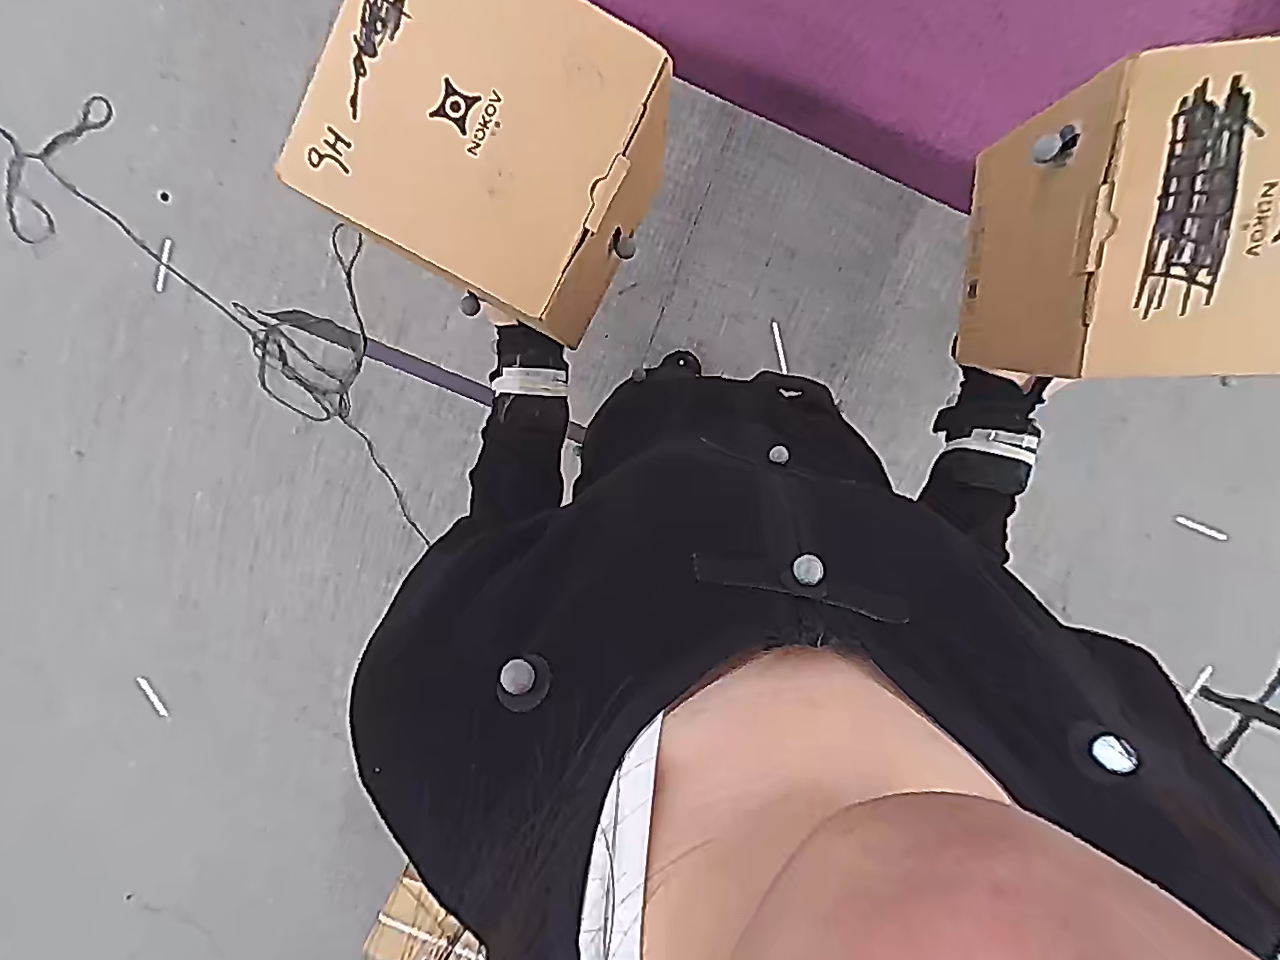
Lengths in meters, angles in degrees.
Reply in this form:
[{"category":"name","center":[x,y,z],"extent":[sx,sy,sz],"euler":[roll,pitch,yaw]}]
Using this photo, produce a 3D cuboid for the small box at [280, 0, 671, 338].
[{"category":"small box","center":[-0.095,-0.215,0.386],"extent":[0.179,0.176,0.168],"euler":[27,97,-4]}]
